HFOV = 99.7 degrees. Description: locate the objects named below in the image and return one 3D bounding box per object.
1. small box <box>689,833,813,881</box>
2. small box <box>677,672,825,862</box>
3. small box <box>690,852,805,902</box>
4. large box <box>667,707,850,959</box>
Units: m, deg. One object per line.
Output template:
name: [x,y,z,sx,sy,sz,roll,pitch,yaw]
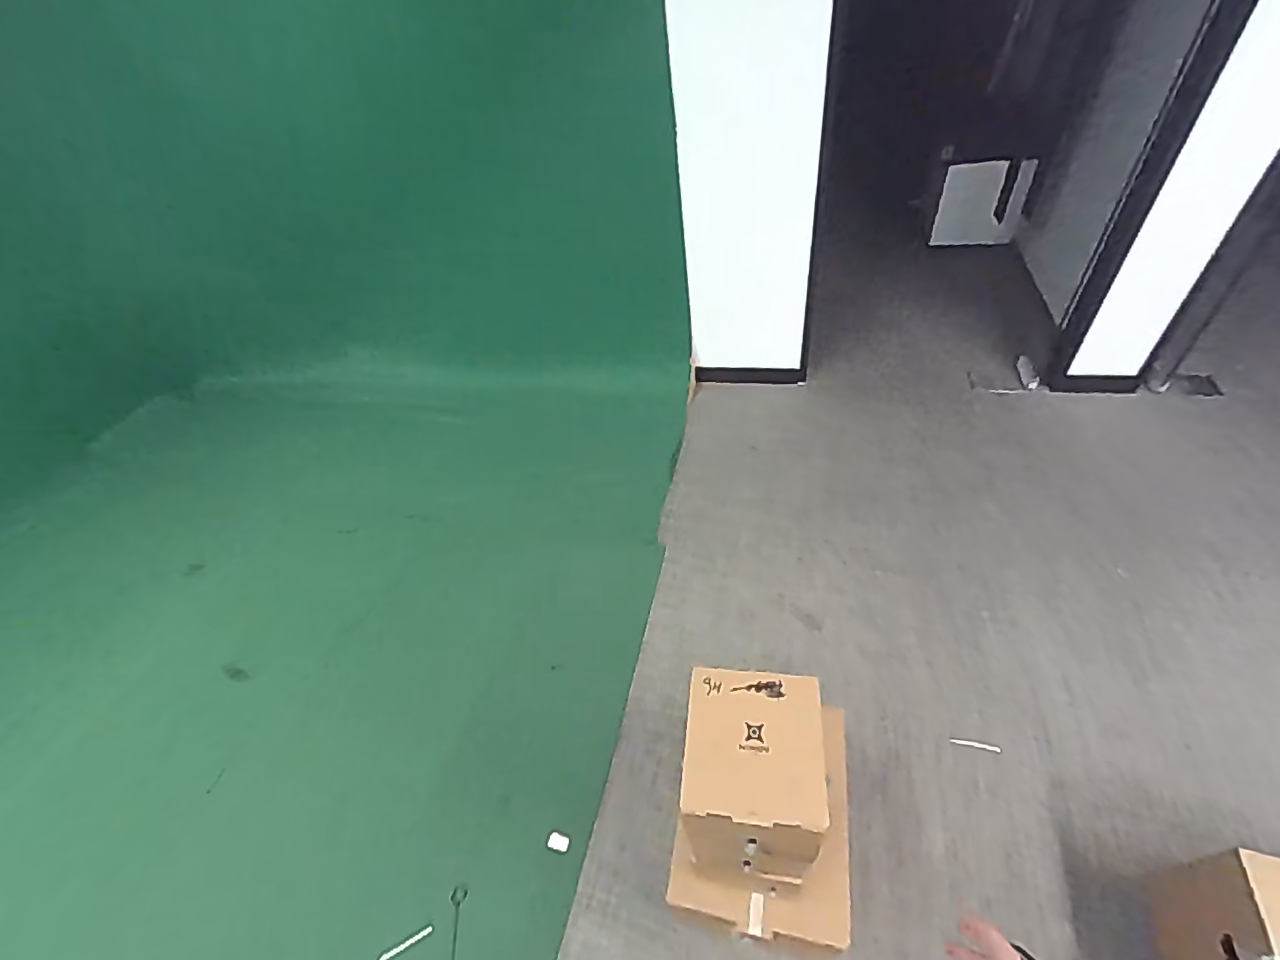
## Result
small box: [0.169,0.490,0.827,0.168,0.176,0.179,0,45,10]
small box: [0.148,0.377,0.709,0.168,0.176,0.179,1,46,13]
small box: [0.190,0.608,0.938,0.179,0.176,0.168,2,46,14]
large box: [0.255,0.728,1.153,0.320,0.320,0.408,3,46,14]
